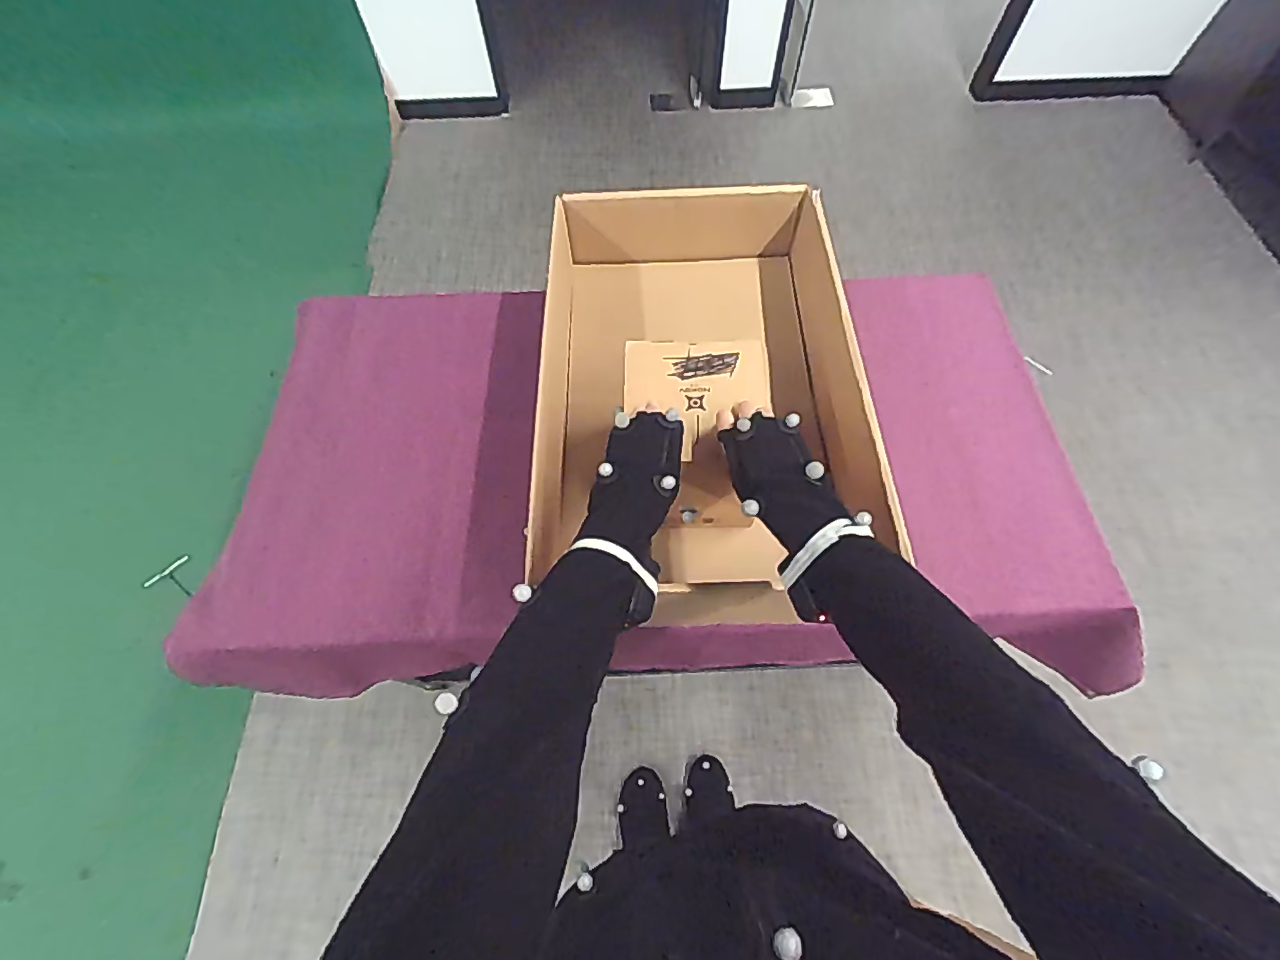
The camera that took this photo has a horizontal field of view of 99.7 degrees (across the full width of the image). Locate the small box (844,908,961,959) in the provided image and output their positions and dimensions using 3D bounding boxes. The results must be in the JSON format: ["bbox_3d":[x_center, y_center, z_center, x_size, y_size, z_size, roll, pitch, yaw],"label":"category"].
[{"bbox_3d":[0.511,0.952,1.040,0.179,0.176,0.168,-7,62,-3],"label":"small box"}]

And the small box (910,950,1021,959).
[{"bbox_3d":[0.506,0.787,0.754,0.168,0.176,0.179,-1,62,1],"label":"small box"}]

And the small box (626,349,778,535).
[{"bbox_3d":[0.067,-0.044,0.683,0.168,0.176,0.179,-1,61,1],"label":"small box"}]
